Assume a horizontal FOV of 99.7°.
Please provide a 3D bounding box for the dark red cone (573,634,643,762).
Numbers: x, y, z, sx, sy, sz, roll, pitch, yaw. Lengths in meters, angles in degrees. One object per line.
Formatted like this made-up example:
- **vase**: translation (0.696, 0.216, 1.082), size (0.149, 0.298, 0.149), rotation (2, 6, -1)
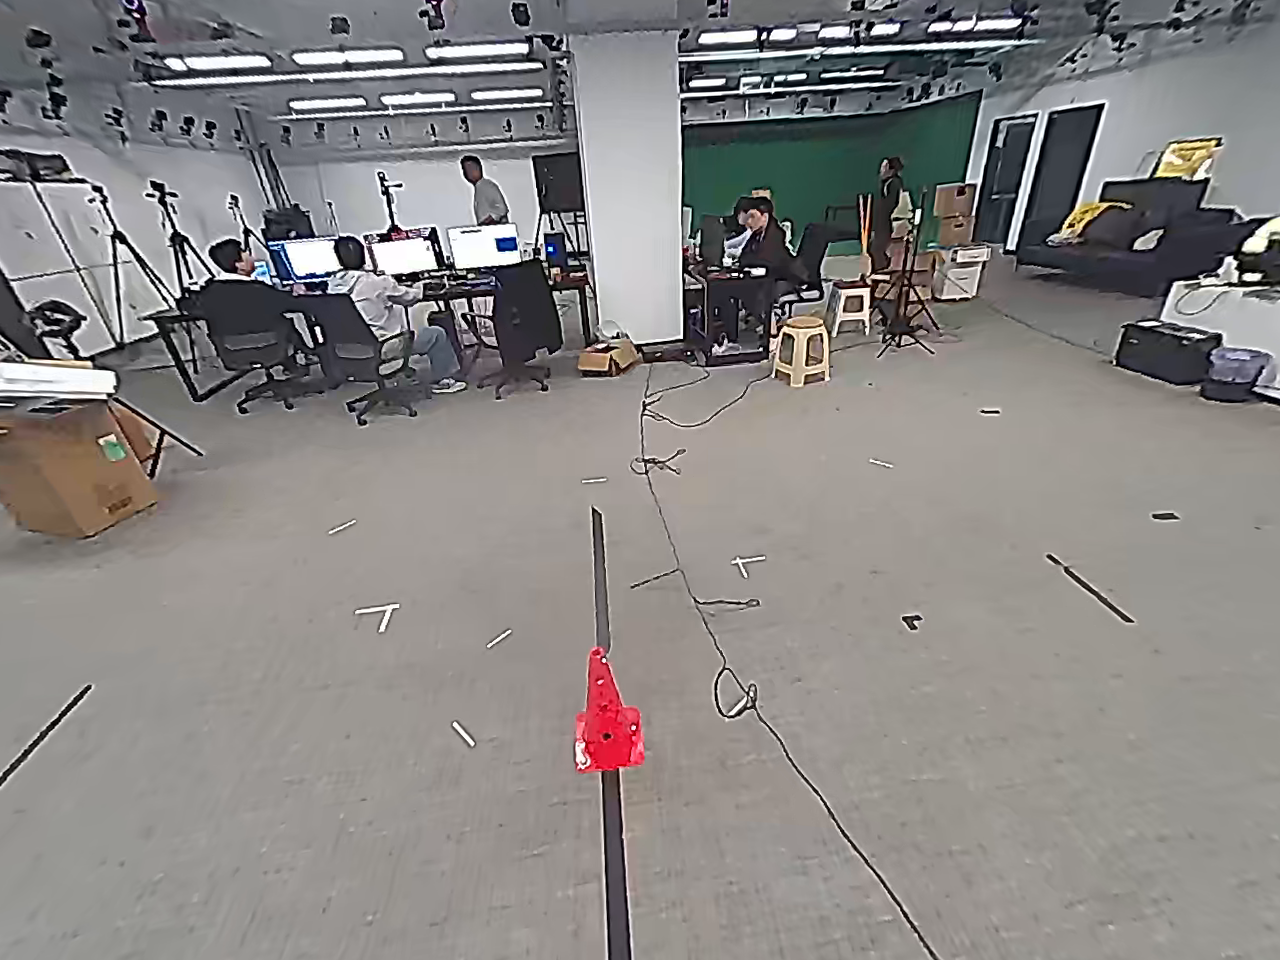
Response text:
- **dark red cone**: translation (-0.105, 0.599, 1.530), size (0.201, 0.394, 0.202), rotation (-6, 28, -5)
